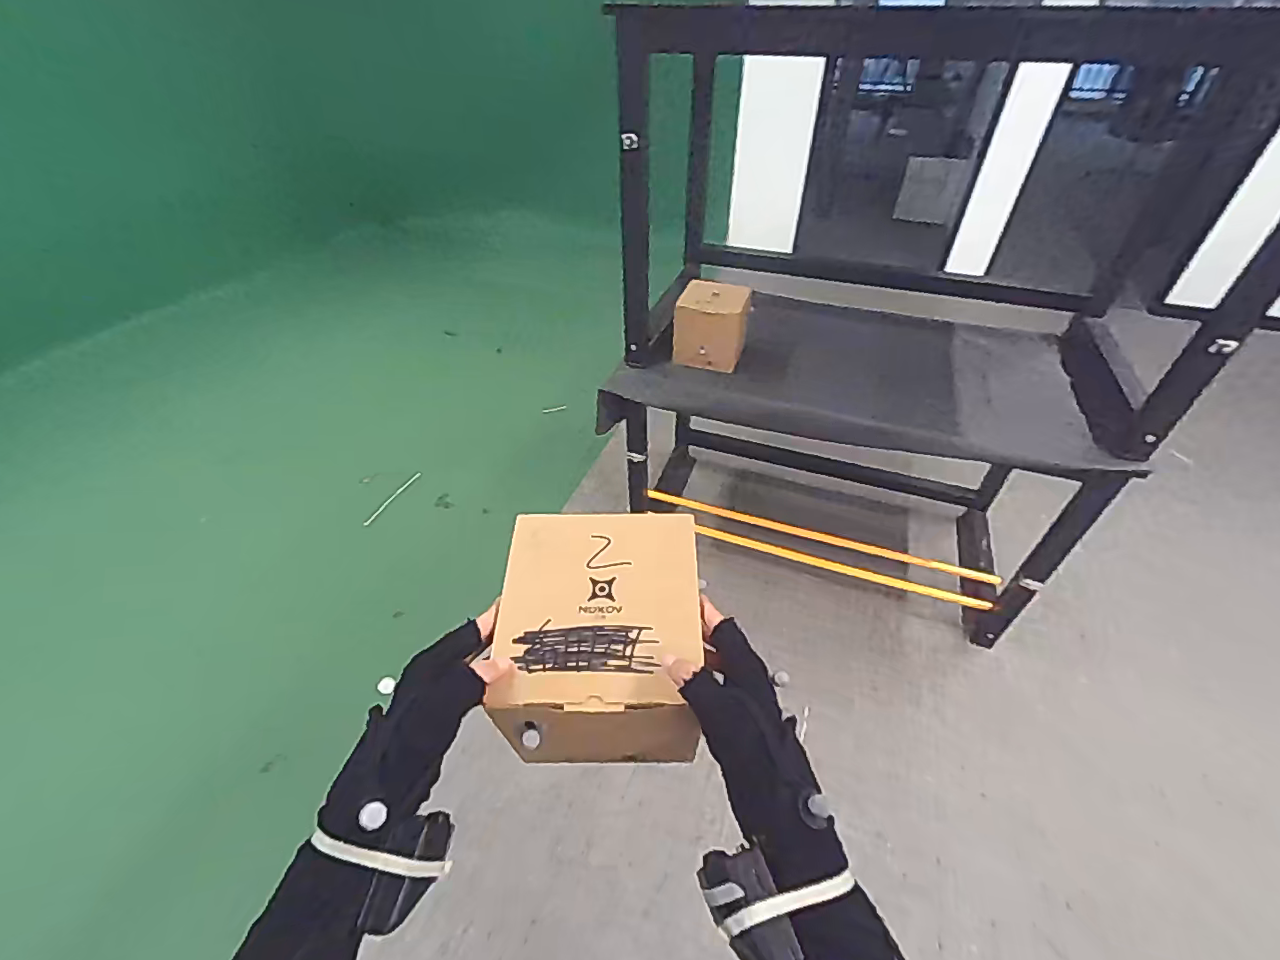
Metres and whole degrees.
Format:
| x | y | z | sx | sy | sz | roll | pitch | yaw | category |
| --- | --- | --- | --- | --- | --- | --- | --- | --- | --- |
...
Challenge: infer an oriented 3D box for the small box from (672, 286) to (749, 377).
| x | y | z | sx | sy | sz | roll | pitch | yaw | category |
| --- | --- | --- | --- | --- | --- | --- | --- | --- | --- |
| 0.186 | -0.400 | 1.452 | 0.168 | 0.176 | 0.179 | 12 | 43 | 14 | small box |
